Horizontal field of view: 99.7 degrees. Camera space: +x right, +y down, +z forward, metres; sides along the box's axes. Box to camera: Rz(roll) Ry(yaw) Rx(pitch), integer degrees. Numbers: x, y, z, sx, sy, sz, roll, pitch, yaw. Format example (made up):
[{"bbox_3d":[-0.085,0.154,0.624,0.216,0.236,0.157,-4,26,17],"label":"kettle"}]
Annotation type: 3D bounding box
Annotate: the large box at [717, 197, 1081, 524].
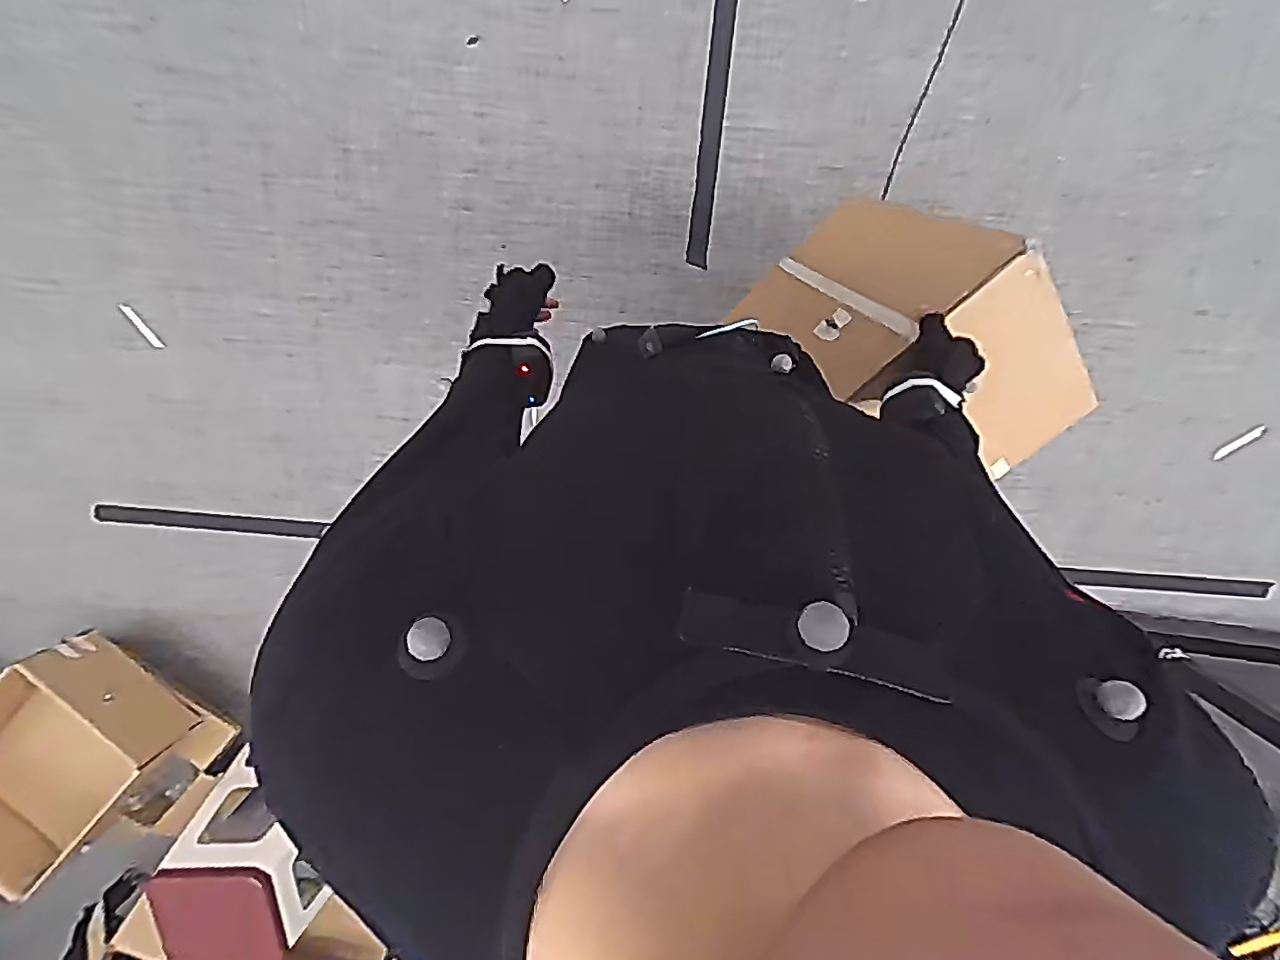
[{"bbox_3d":[0.394,-0.207,0.895,0.320,0.408,0.320,-43,124,15],"label":"large box"}]
